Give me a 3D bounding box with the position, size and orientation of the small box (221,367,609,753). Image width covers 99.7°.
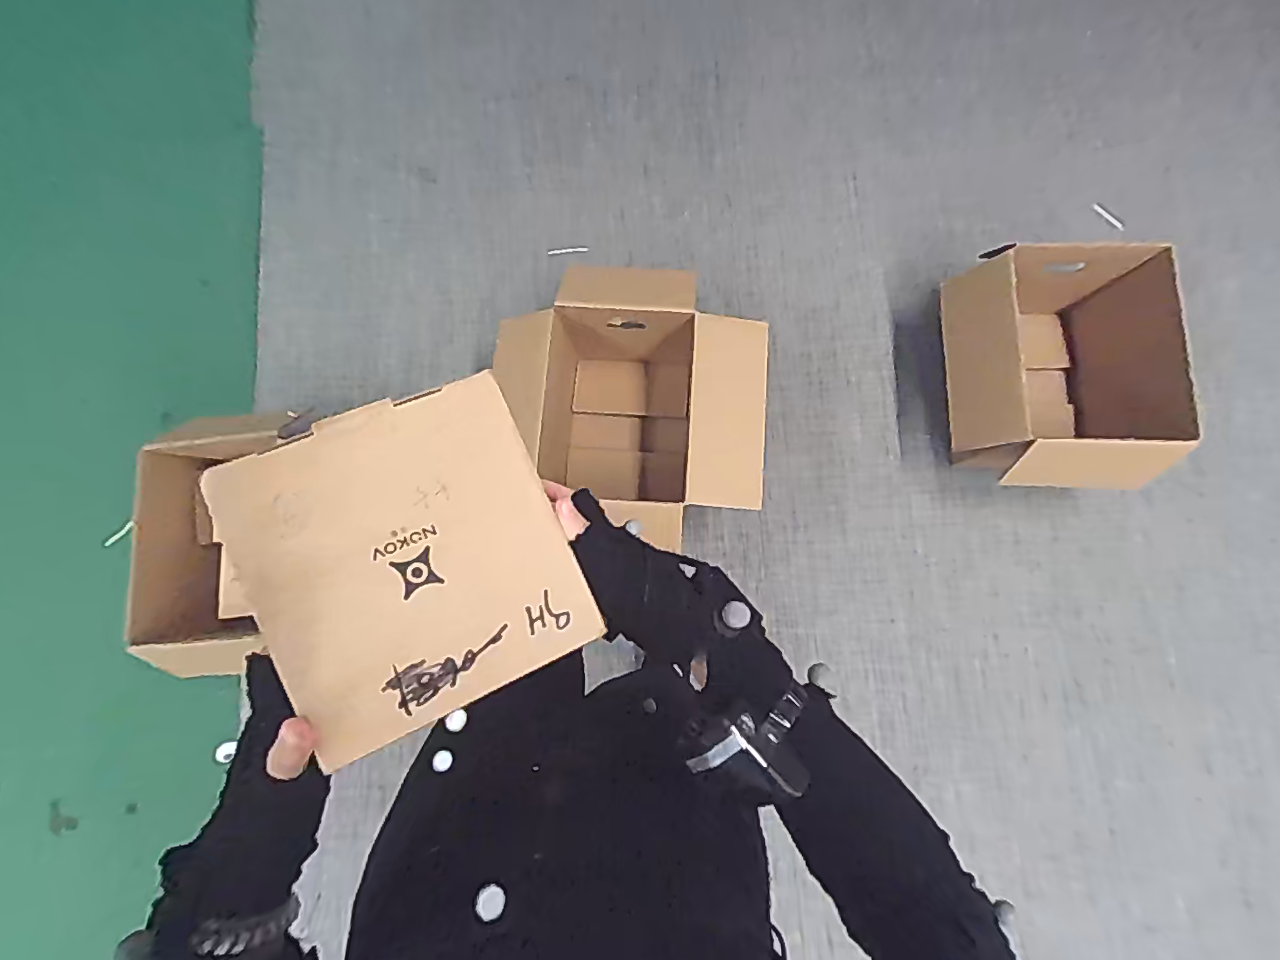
[{"bbox_3d":[-0.139,0.050,0.385,0.168,0.176,0.179,-23,87,-13],"label":"small box"}]
